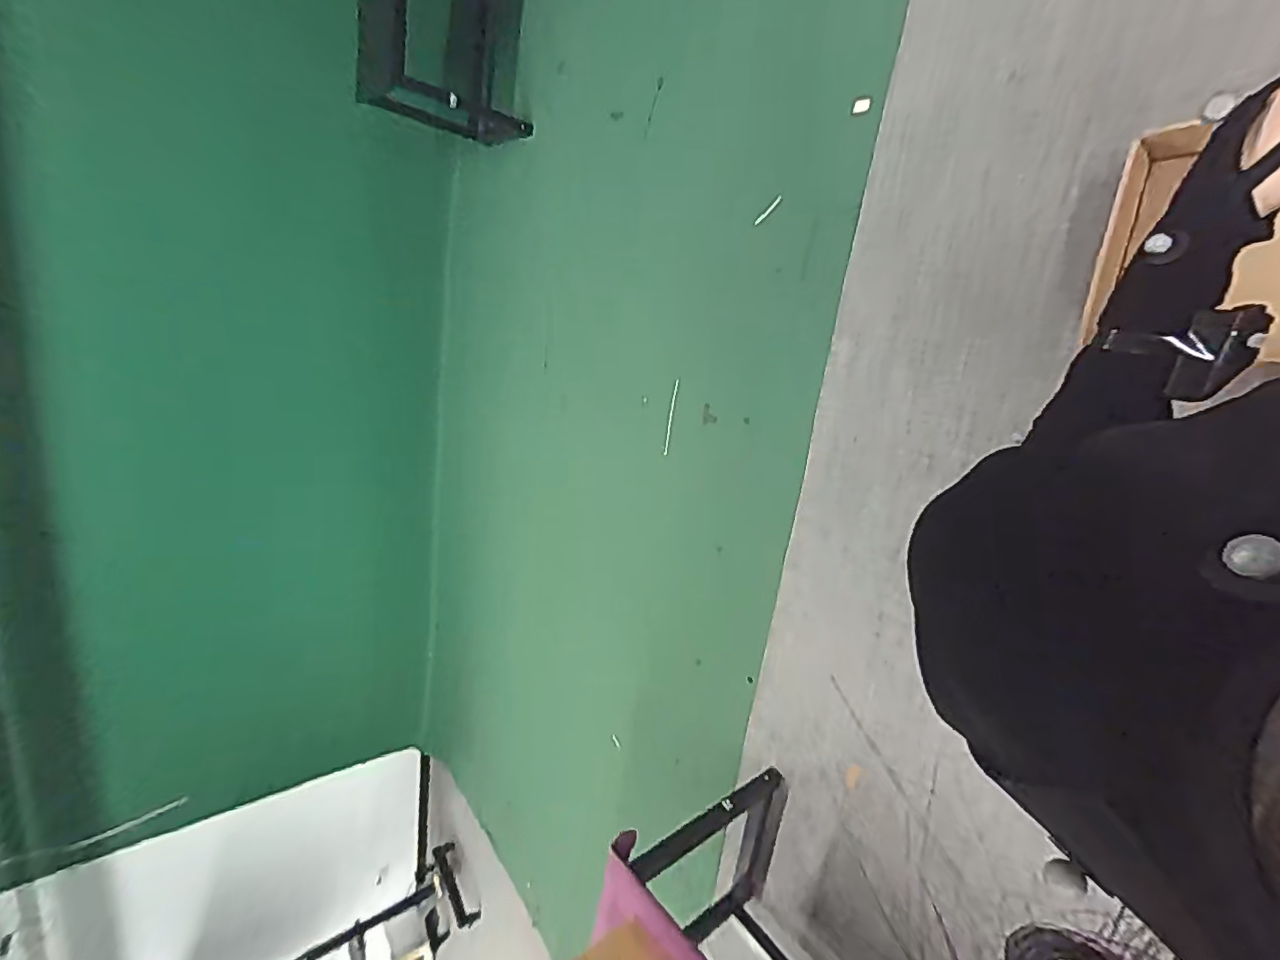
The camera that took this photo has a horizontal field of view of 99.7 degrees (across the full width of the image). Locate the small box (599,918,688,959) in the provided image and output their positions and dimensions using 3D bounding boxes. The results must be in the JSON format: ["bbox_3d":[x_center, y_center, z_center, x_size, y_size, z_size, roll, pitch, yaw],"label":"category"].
[{"bbox_3d":[0.008,1.208,1.298,0.179,0.176,0.168,22,109,47],"label":"small box"}]
